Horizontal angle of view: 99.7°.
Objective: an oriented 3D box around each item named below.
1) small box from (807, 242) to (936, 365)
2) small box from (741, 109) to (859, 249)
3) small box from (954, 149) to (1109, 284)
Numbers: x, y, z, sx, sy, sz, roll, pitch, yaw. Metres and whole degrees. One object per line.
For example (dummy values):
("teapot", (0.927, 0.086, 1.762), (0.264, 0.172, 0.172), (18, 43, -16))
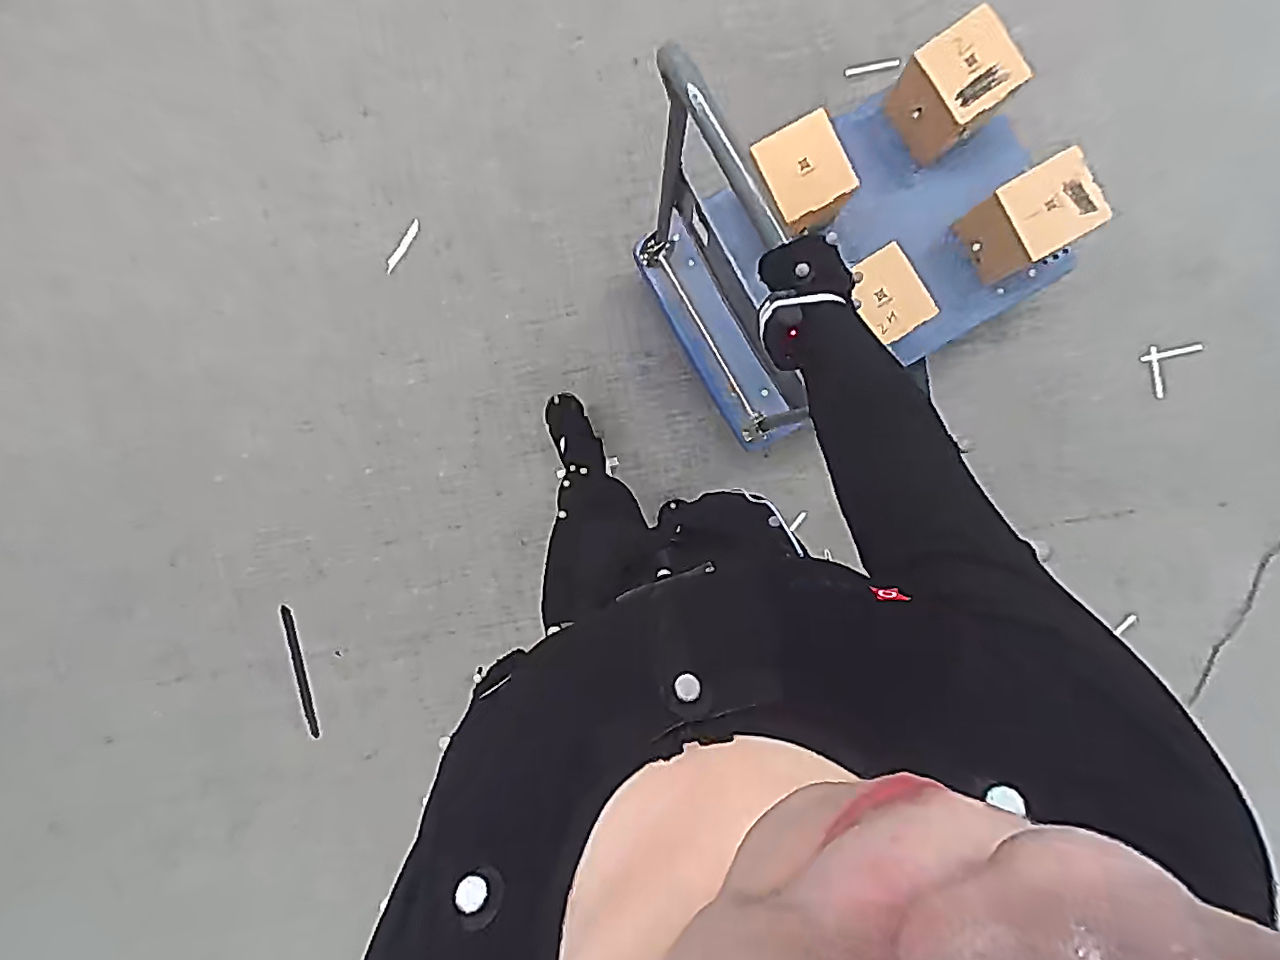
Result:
("small box", (0.492, -0.373, 1.179), (0.168, 0.176, 0.179), (-32, 91, 4))
("small box", (0.336, -0.640, 1.172), (0.168, 0.176, 0.179), (-27, 93, 3))
("small box", (0.823, -0.550, 1.155), (0.179, 0.176, 0.168), (-29, 91, 5))
